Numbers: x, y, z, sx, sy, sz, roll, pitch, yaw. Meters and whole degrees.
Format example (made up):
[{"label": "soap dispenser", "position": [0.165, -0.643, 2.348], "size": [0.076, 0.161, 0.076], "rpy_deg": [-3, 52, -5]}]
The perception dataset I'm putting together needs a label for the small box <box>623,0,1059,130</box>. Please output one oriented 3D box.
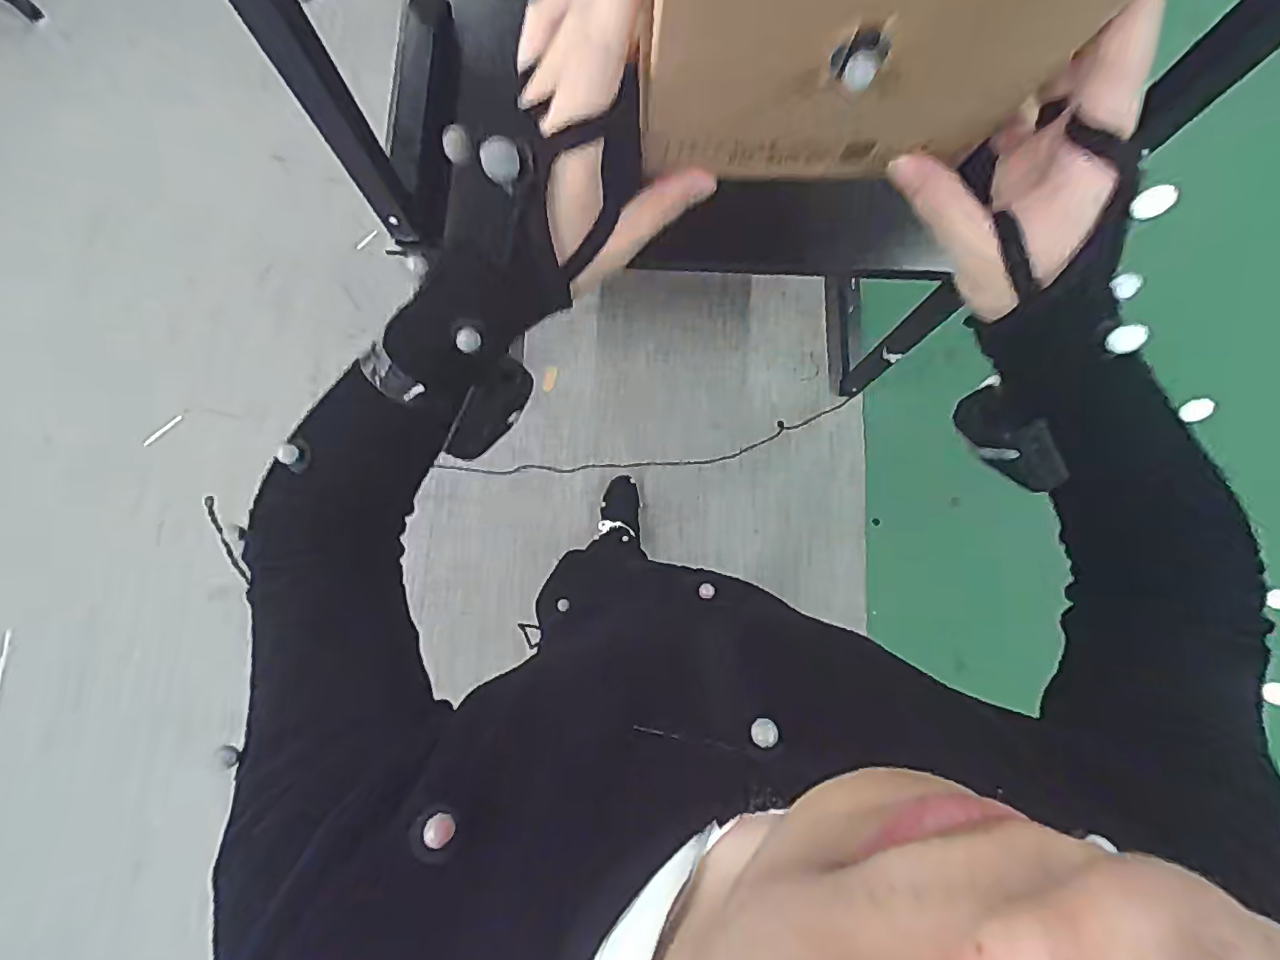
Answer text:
[{"label": "small box", "position": [0.079, -0.257, 0.188], "size": [0.168, 0.176, 0.179], "rpy_deg": [-2, 88, -4]}]
